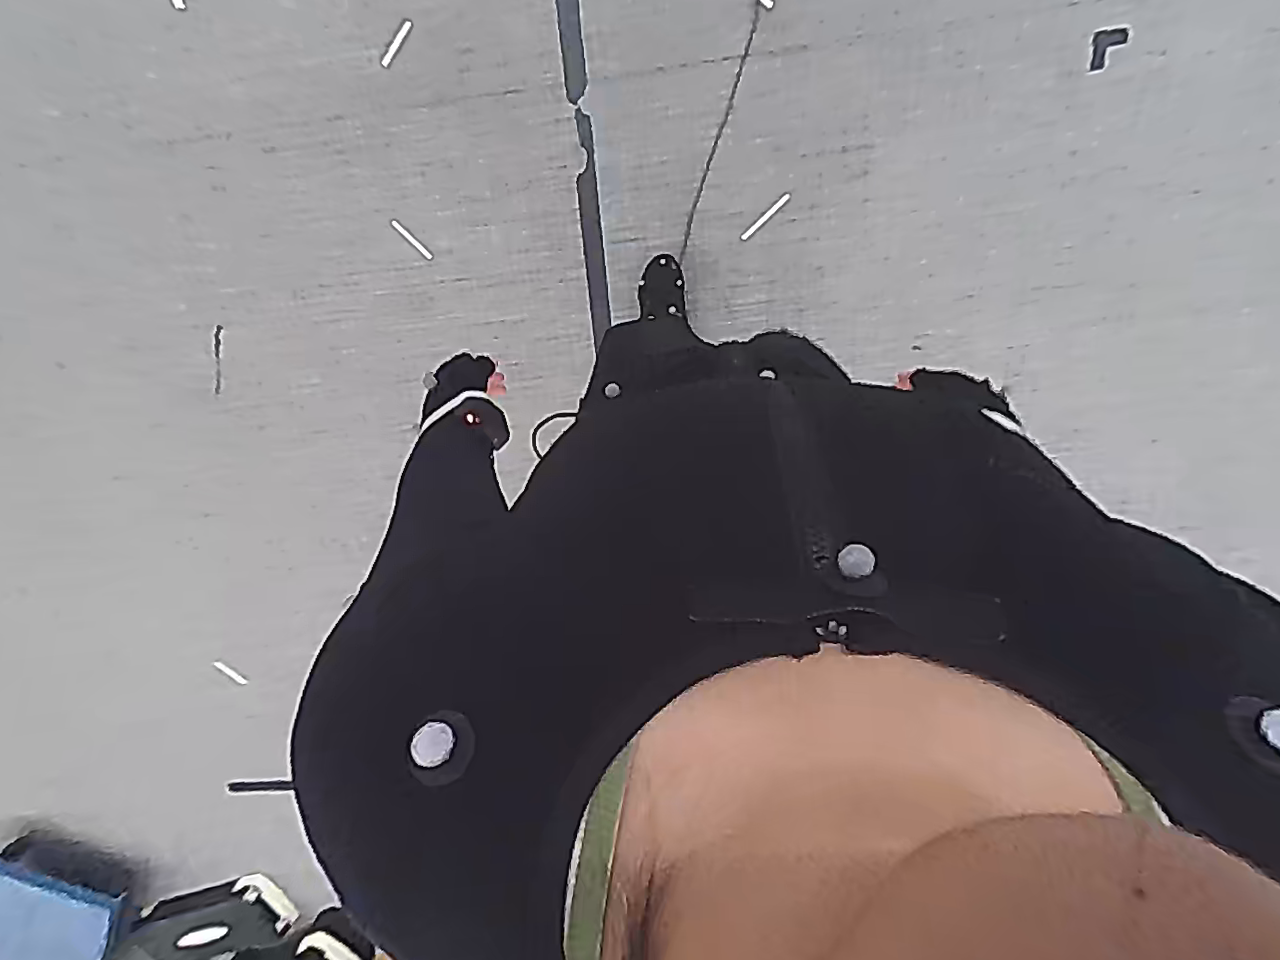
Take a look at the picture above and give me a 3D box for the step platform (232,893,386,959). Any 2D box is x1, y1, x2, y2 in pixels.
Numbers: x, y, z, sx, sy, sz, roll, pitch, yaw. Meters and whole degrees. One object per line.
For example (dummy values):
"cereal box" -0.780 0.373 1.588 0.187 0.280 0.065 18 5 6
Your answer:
"step platform" -1.437 2.030 2.296 0.684 0.204 0.286 -32 106 13
